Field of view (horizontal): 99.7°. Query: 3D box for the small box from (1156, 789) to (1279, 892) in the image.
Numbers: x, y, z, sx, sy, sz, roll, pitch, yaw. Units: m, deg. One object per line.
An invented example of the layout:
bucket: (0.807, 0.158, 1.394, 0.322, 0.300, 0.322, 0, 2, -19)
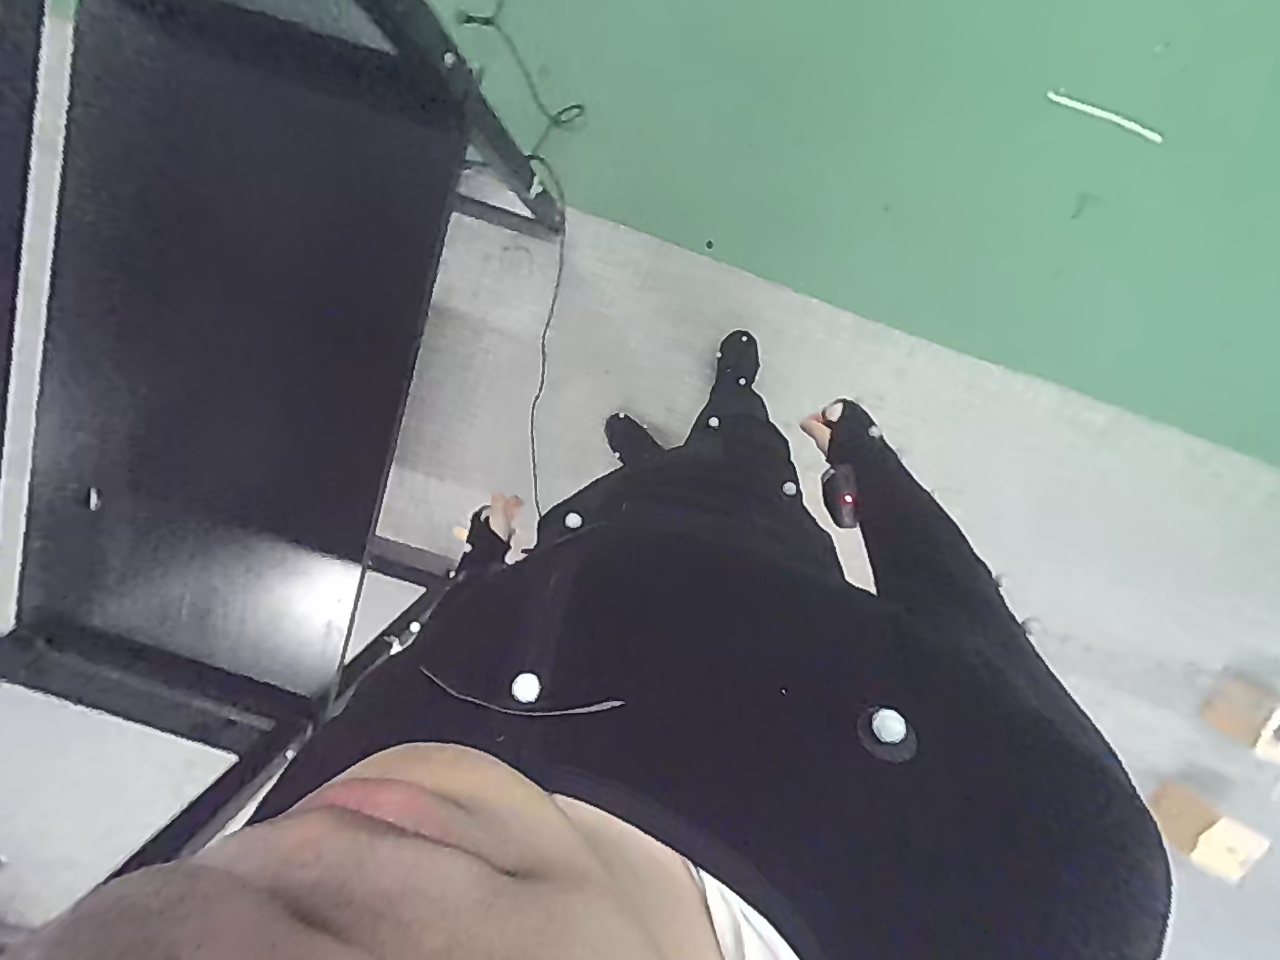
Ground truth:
small box: (1.748, 1.081, 1.640, 0.179, 0.176, 0.168, 27, 101, -1)
